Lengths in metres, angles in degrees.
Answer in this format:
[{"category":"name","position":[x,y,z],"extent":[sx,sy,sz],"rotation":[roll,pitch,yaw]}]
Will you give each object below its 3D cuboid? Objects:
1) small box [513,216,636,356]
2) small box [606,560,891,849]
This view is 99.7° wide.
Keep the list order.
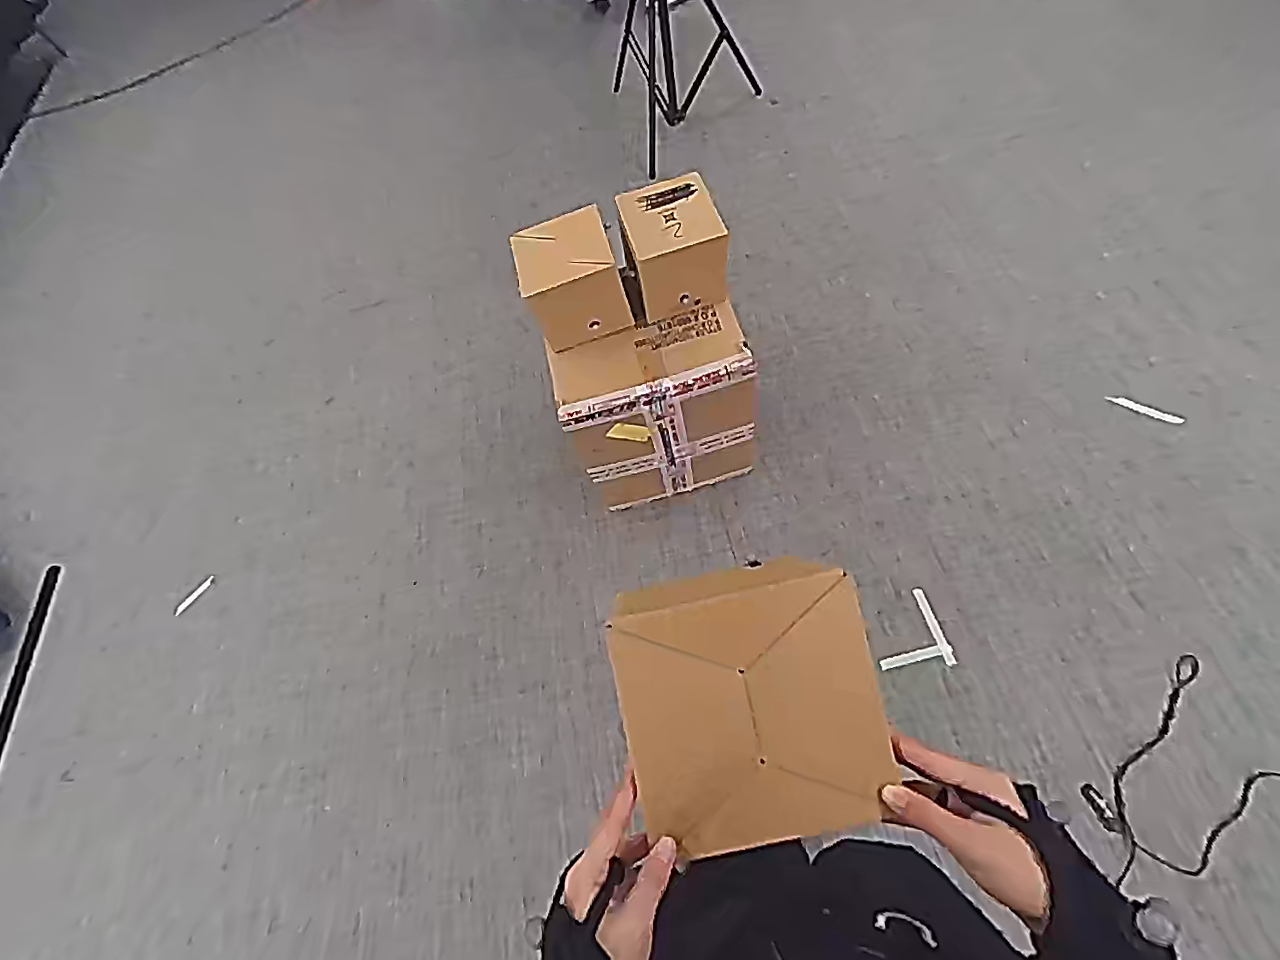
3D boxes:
[{"category":"small box","position":[-0.125,-0.379,1.057],"extent":[0.179,0.176,0.168],"rotation":[-17,64,4]},{"category":"small box","position":[0.074,0.168,0.452],"extent":[0.179,0.176,0.168],"rotation":[-12,86,1]}]
